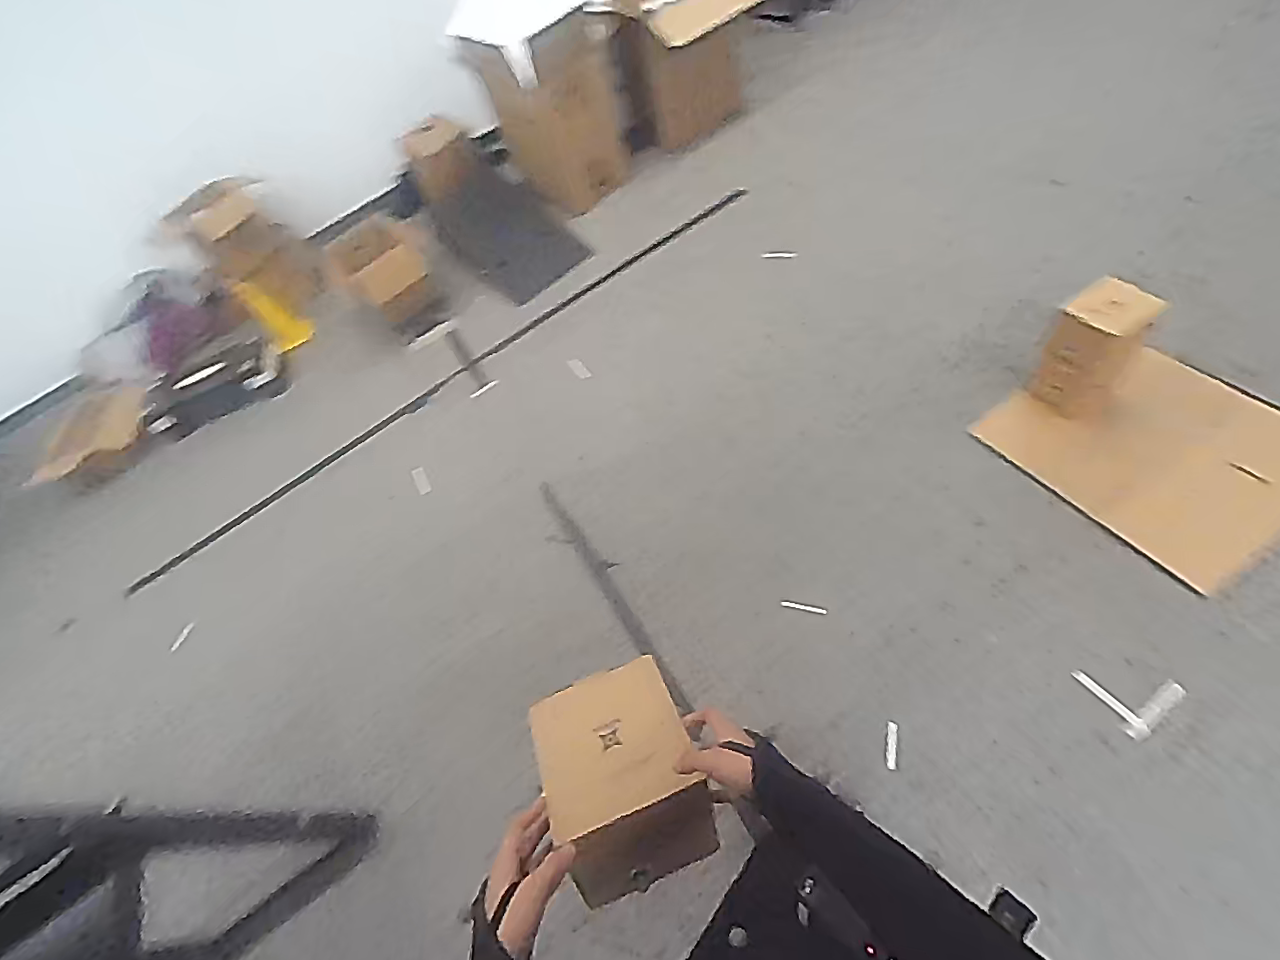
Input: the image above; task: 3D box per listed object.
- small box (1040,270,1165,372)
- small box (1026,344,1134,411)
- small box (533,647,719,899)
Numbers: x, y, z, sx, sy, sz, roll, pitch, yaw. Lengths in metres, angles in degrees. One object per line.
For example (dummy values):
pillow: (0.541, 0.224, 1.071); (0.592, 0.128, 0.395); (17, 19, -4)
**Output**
small box: (1.259, -0.435, 1.490); (0.179, 0.176, 0.168); (-32, 54, -4)
small box: (1.301, -0.339, 1.618); (0.179, 0.176, 0.168); (-34, 55, -4)
small box: (-0.017, 0.339, 0.638); (0.168, 0.176, 0.179); (-18, 34, -10)
